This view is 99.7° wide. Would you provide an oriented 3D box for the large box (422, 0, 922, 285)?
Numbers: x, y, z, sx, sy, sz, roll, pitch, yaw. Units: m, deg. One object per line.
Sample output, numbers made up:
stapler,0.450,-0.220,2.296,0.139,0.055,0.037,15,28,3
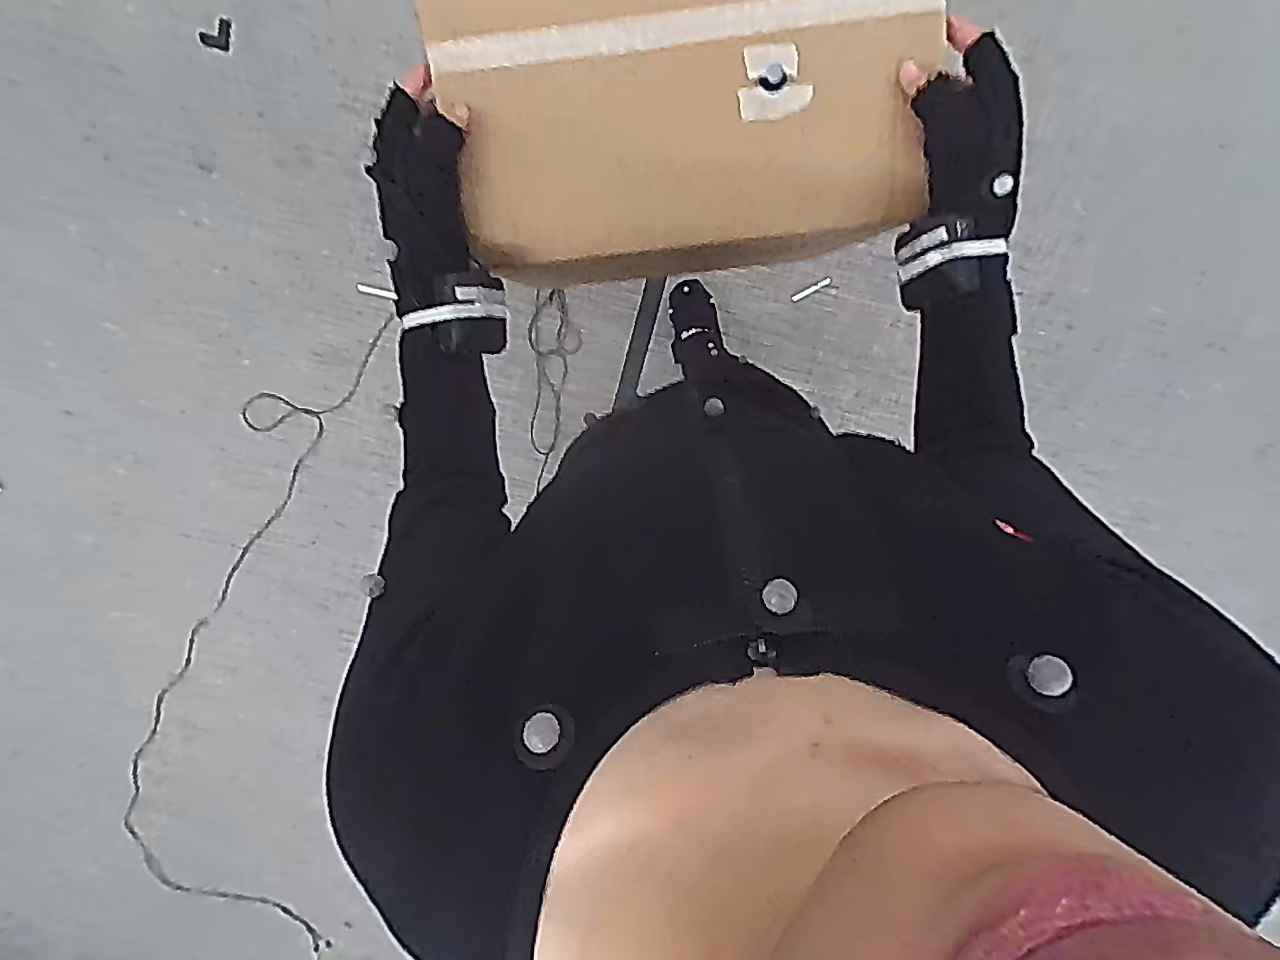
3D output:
large box,0.025,-0.407,0.578,0.408,0.320,0.320,-7,106,1
